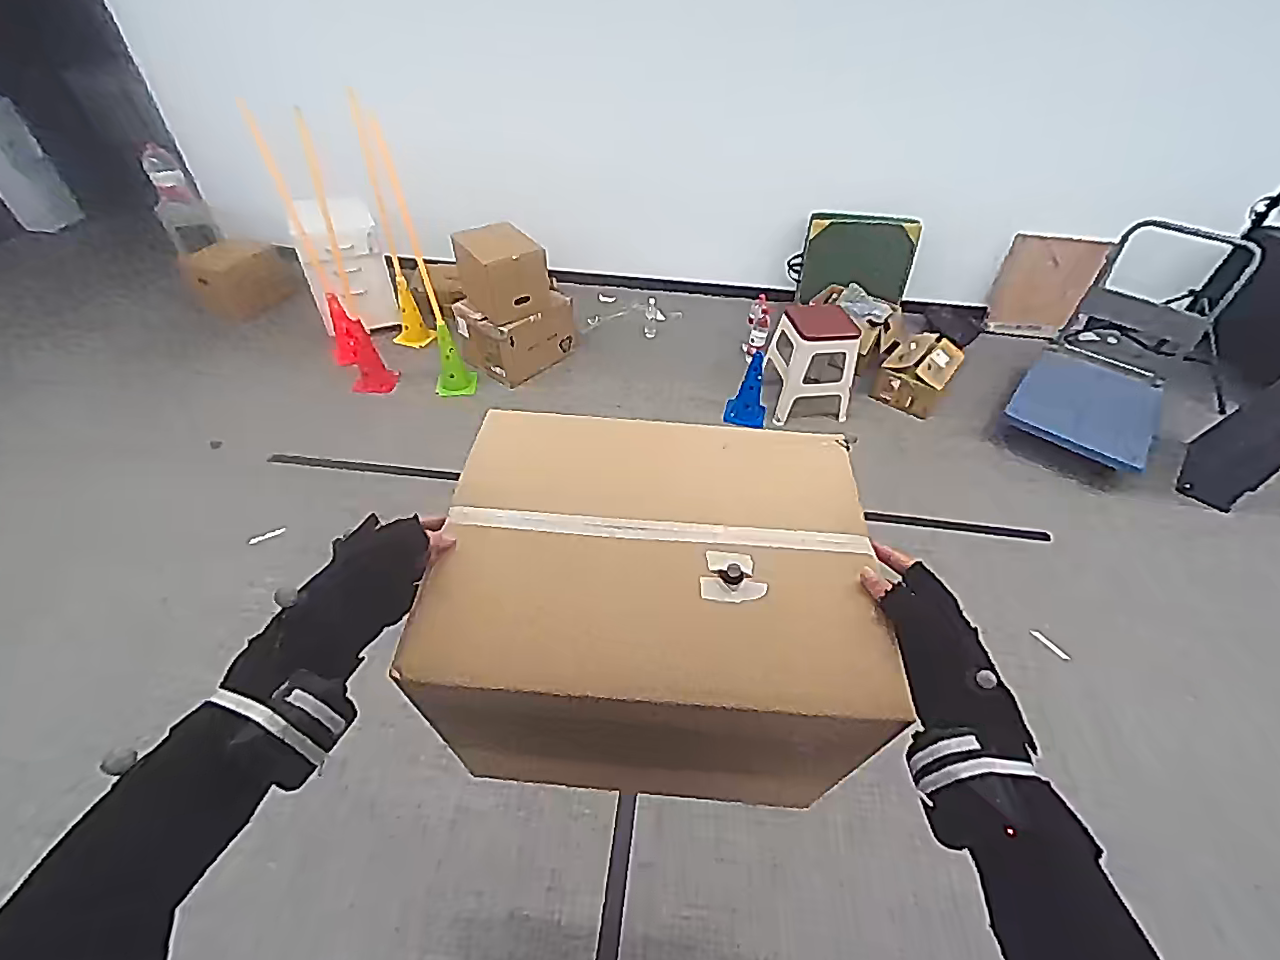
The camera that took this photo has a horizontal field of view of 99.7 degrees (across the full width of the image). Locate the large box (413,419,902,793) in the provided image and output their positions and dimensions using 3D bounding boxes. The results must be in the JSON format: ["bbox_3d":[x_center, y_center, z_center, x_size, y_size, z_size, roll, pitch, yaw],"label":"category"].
[{"bbox_3d":[0.014,0.153,0.639,0.408,0.320,0.320,5,49,1],"label":"large box"}]
